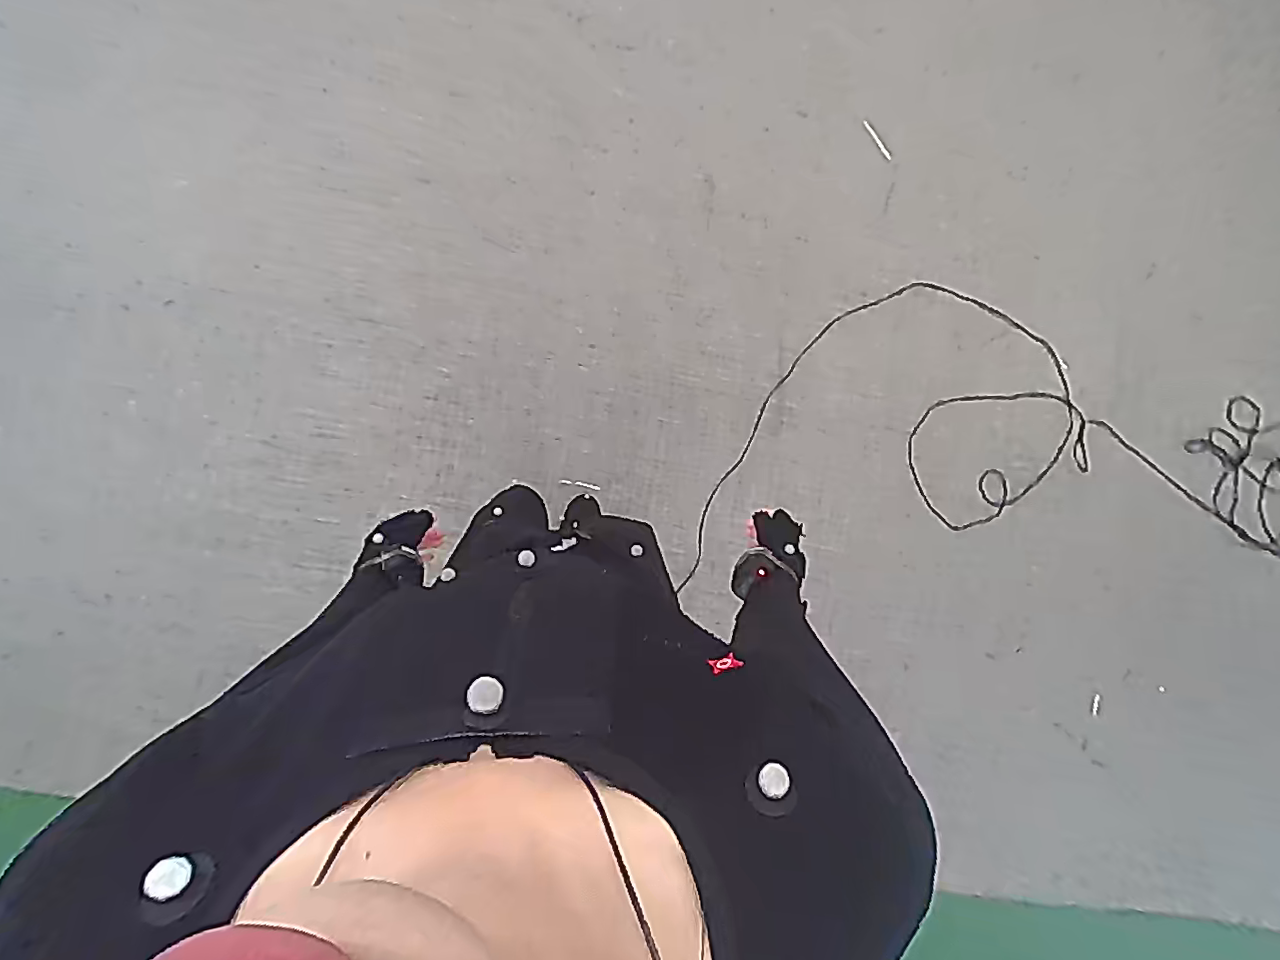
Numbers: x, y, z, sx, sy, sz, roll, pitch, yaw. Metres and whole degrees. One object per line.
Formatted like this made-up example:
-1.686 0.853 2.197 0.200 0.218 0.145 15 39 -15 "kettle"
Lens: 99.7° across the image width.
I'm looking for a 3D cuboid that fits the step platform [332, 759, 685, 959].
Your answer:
-0.259 0.813 1.167 0.684 0.204 0.286 11 86 -7 "step platform"
